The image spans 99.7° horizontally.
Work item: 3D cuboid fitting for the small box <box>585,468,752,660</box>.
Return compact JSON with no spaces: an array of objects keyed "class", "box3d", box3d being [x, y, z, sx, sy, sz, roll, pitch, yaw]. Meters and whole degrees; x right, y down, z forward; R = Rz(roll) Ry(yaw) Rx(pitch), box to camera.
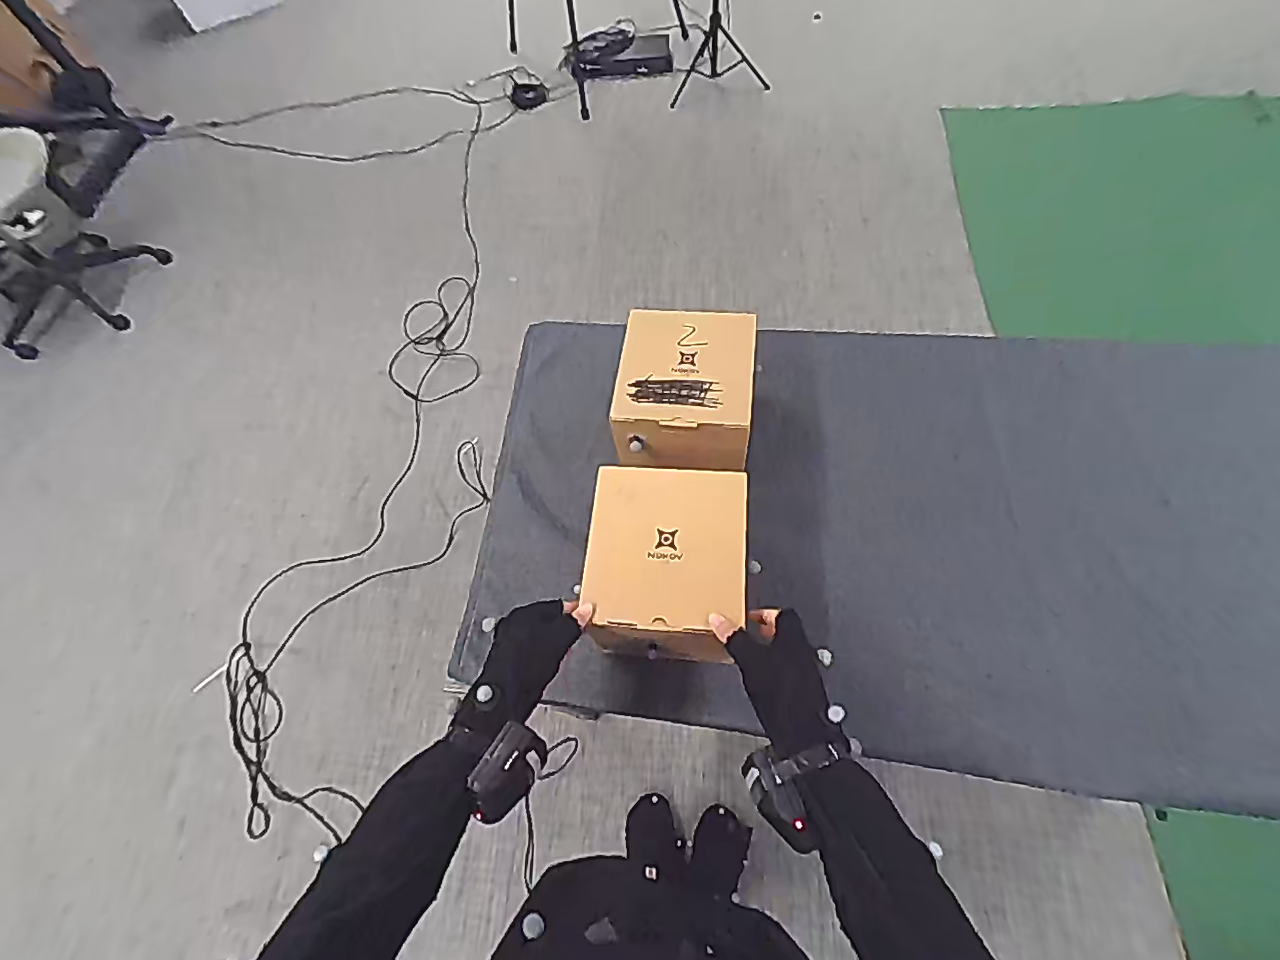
[{"class":"small box","box3d":[0.040,0.103,0.636,0.168,0.176,0.179,2,64,7]}]
